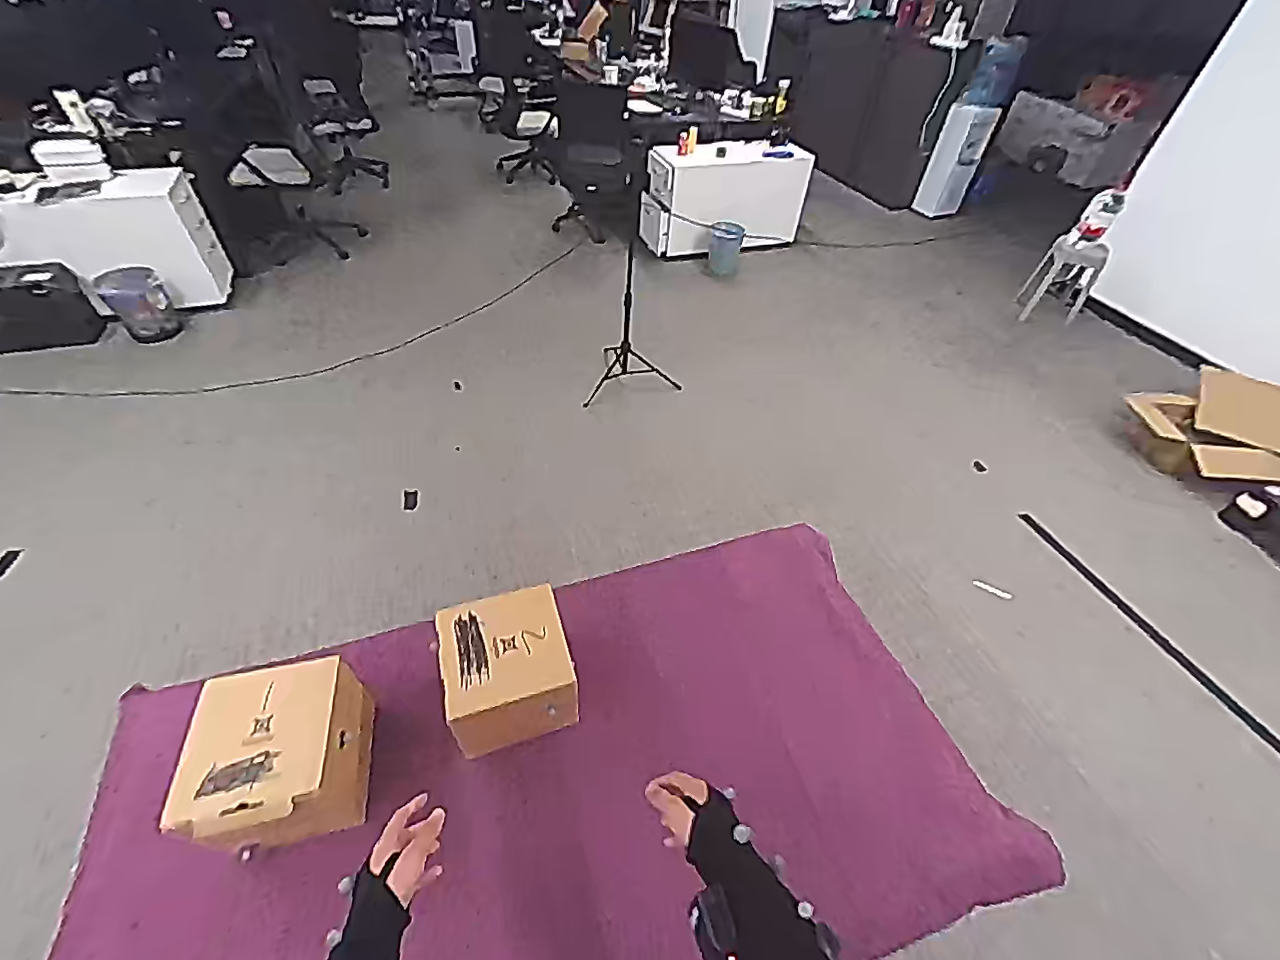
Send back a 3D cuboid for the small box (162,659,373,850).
[{"bbox_3d":[-0.472,0.370,0.722,0.168,0.176,0.179,-8,47,-12],"label":"small box"}]
